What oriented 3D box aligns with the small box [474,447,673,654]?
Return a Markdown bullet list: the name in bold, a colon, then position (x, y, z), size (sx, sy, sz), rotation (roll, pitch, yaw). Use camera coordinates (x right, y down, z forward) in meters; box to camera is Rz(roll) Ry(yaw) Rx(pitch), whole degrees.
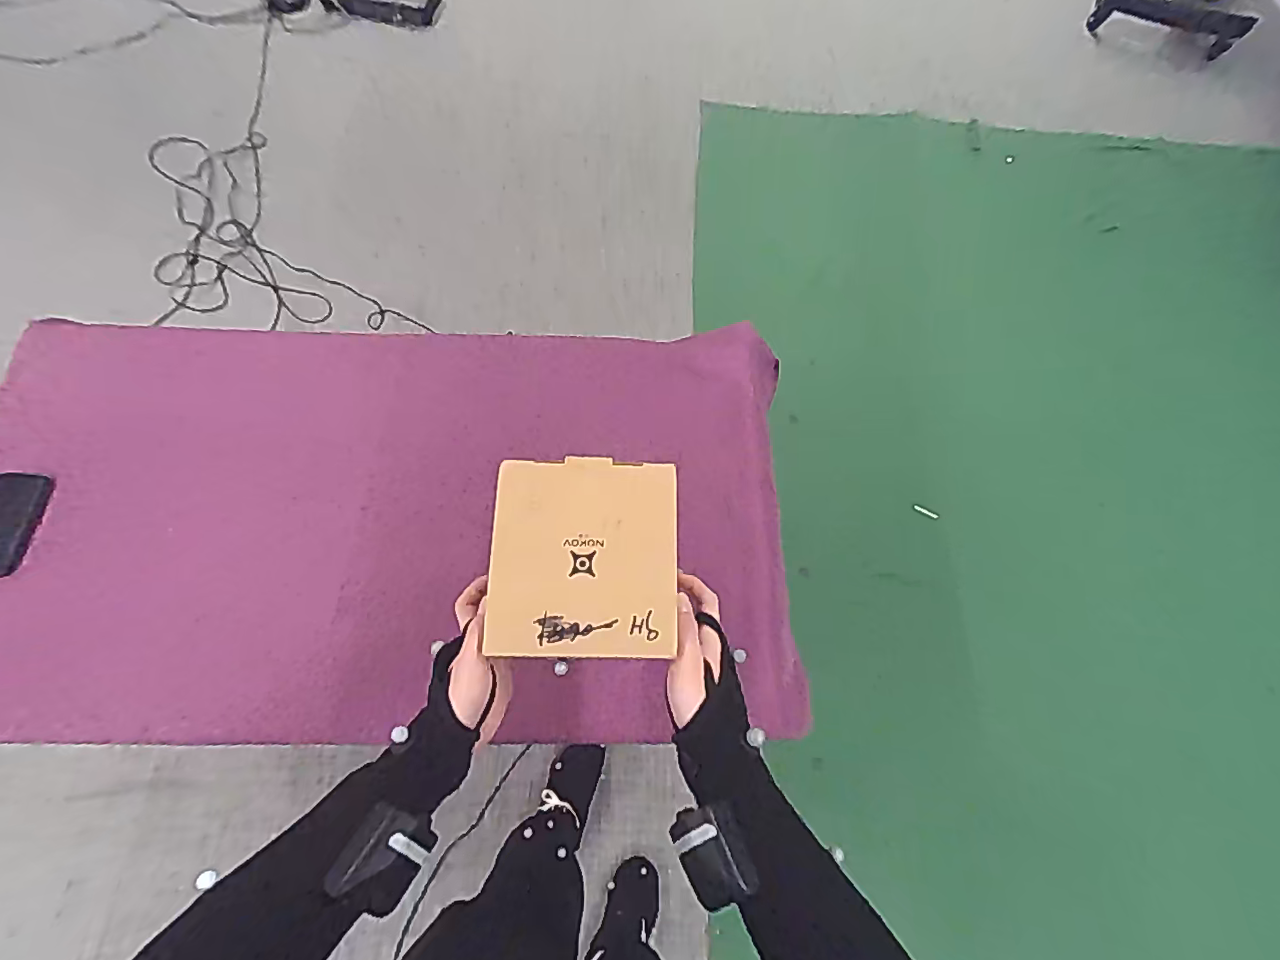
- **small box**: position (-0.055, 0.080, 0.549), size (0.168, 0.176, 0.179), rotation (1, 71, 0)
